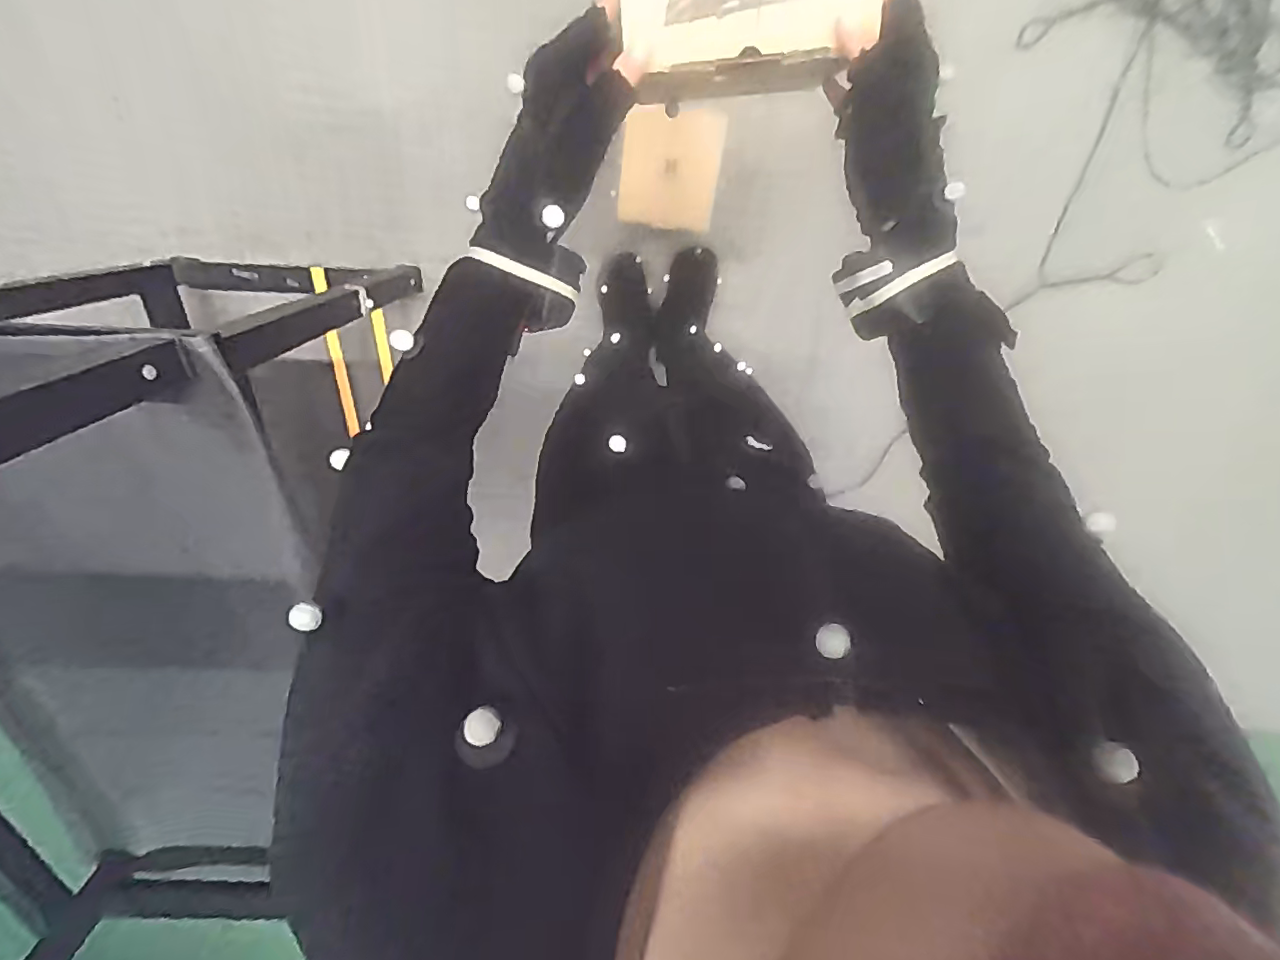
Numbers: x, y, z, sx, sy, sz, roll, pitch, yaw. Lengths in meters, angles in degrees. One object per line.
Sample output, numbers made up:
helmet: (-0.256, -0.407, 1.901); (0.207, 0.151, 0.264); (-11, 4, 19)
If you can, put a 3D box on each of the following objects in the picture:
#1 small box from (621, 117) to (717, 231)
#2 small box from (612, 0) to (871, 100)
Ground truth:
small box: (0.053, -0.630, 1.126); (0.168, 0.176, 0.179); (8, 118, -3)
small box: (0.066, -0.389, 0.387); (0.168, 0.176, 0.179); (-3, 118, 5)
